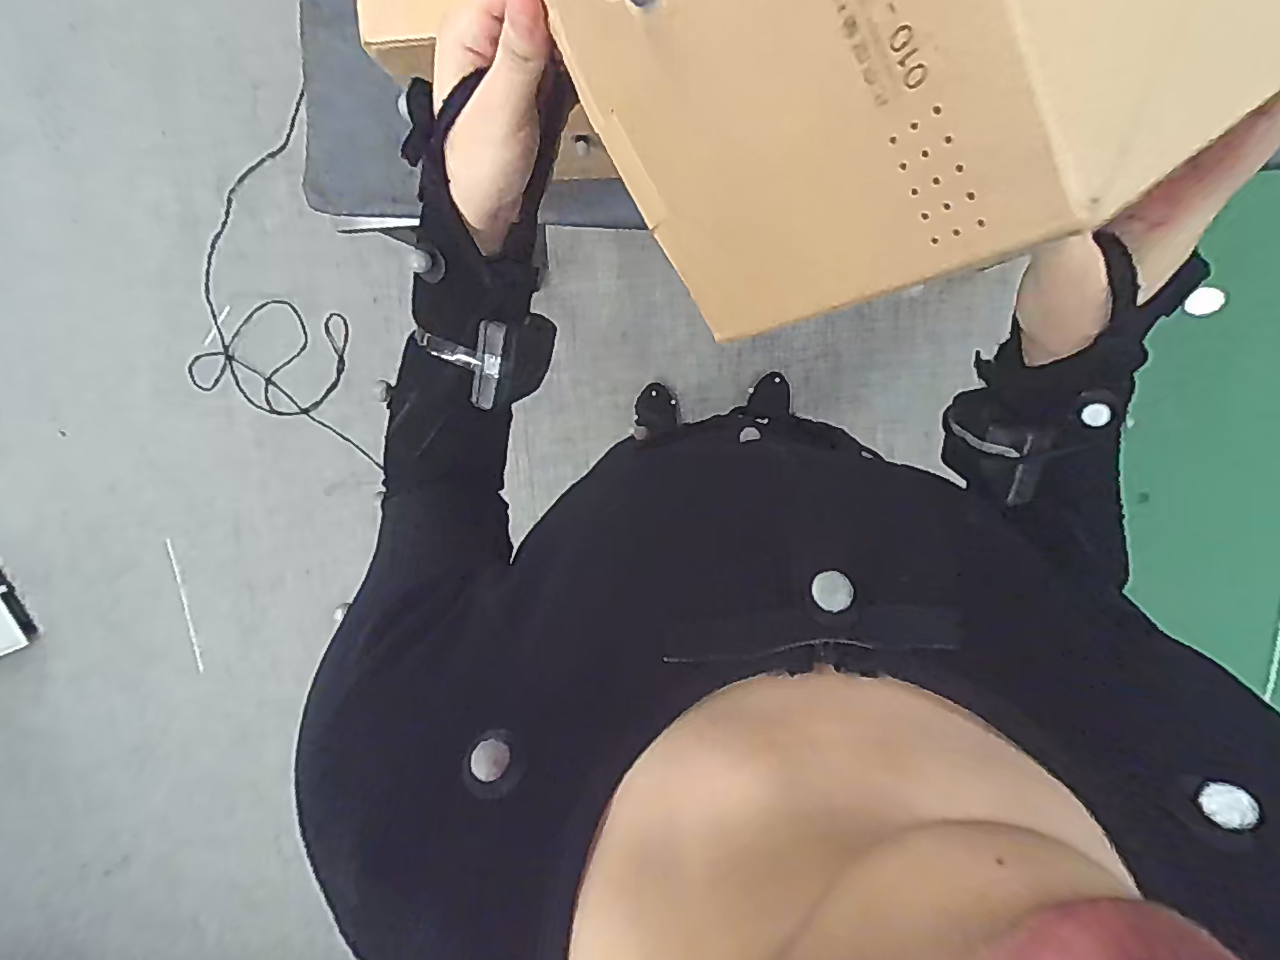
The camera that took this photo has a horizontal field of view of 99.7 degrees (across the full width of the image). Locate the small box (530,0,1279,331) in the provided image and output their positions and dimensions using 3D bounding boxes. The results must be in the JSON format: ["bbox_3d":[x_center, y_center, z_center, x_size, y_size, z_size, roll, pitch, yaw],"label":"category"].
[{"bbox_3d":[0.085,-0.174,0.176,0.179,0.176,0.168,-34,106,-10],"label":"small box"}]

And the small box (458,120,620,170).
[{"bbox_3d":[-0.095,-0.455,0.589,0.179,0.176,0.168,2,102,6],"label":"small box"}]

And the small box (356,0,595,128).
[{"bbox_3d":[-0.105,-0.408,0.433,0.179,0.176,0.168,1,103,7],"label":"small box"}]
